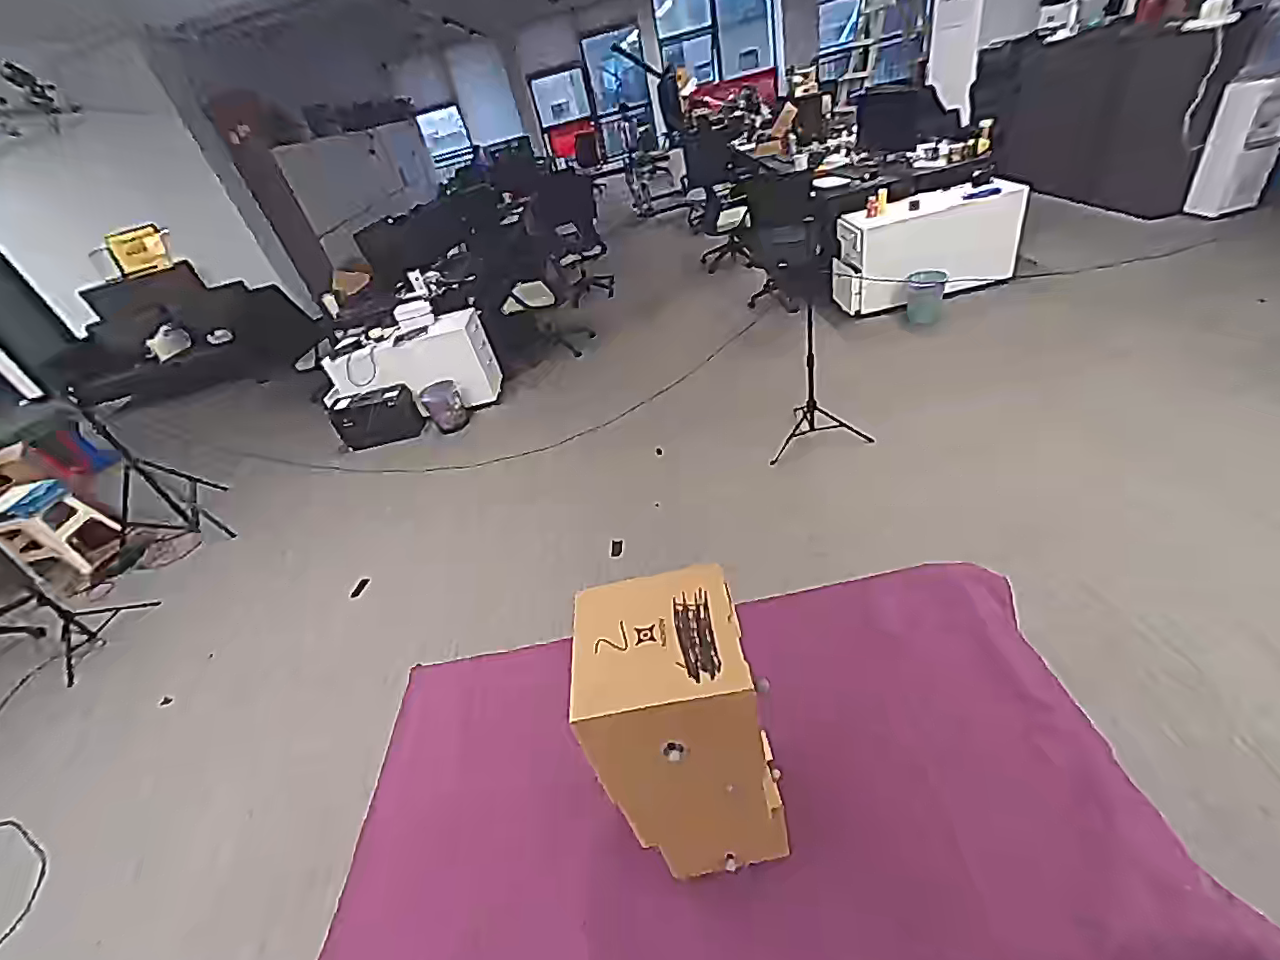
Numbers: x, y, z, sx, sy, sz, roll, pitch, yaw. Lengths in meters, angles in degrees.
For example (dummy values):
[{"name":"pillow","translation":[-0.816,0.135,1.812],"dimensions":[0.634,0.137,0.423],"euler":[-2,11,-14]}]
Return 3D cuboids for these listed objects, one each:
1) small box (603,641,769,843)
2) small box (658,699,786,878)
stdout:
[{"name":"small box","translation":[0.059,0.346,0.711],"dimensions":[0.179,0.176,0.168],"euler":[-13,35,2]},{"name":"small box","translation":[0.111,0.464,0.813],"dimensions":[0.179,0.176,0.168],"euler":[-13,35,2]}]
